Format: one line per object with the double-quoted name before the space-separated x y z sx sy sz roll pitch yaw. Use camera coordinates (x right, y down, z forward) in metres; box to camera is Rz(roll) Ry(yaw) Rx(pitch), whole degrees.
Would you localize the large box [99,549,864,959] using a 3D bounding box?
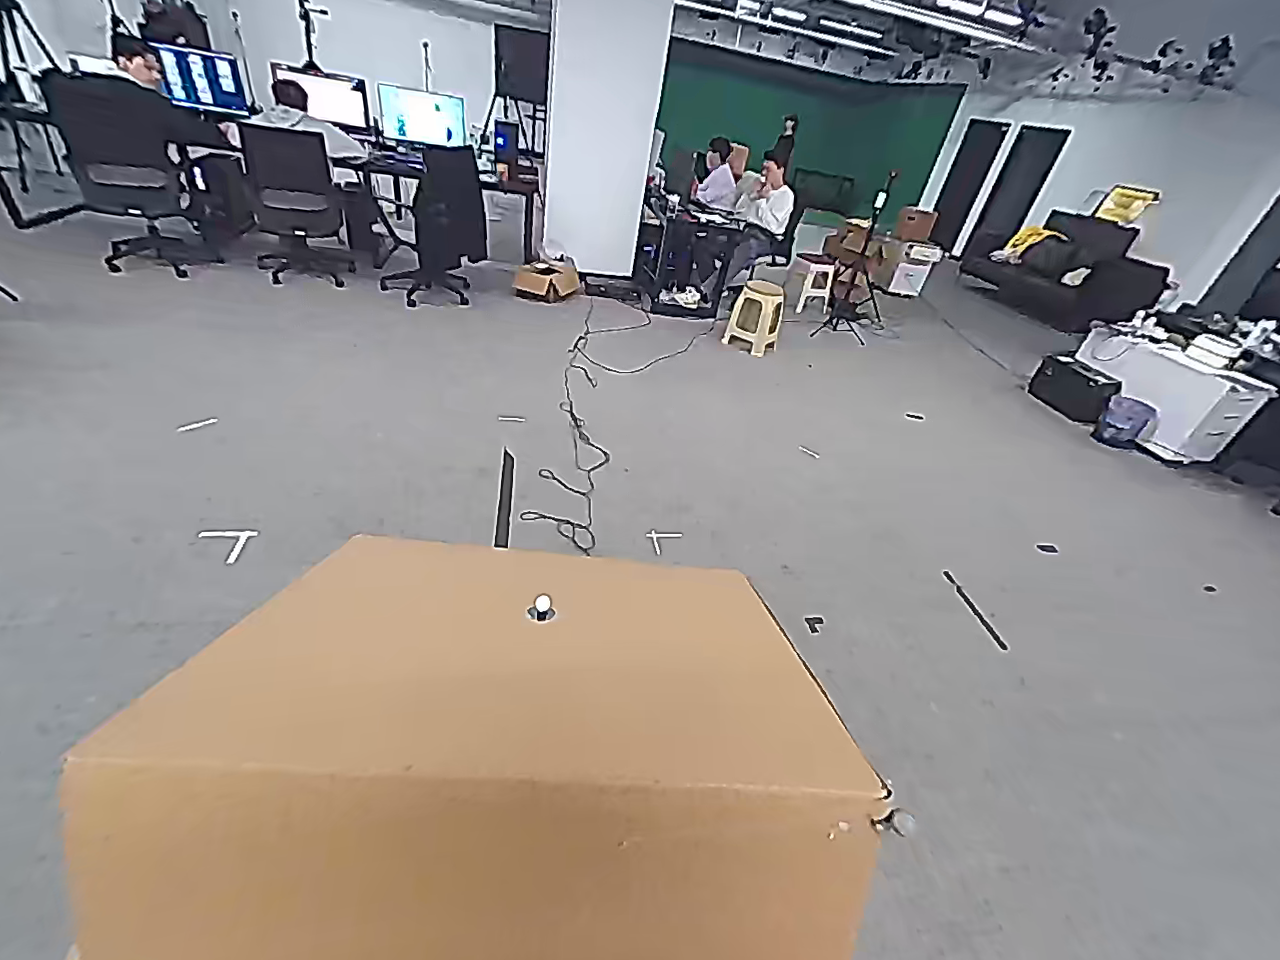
"large box" -0.098 0.263 0.459 0.408 0.320 0.320 6 14 -6
